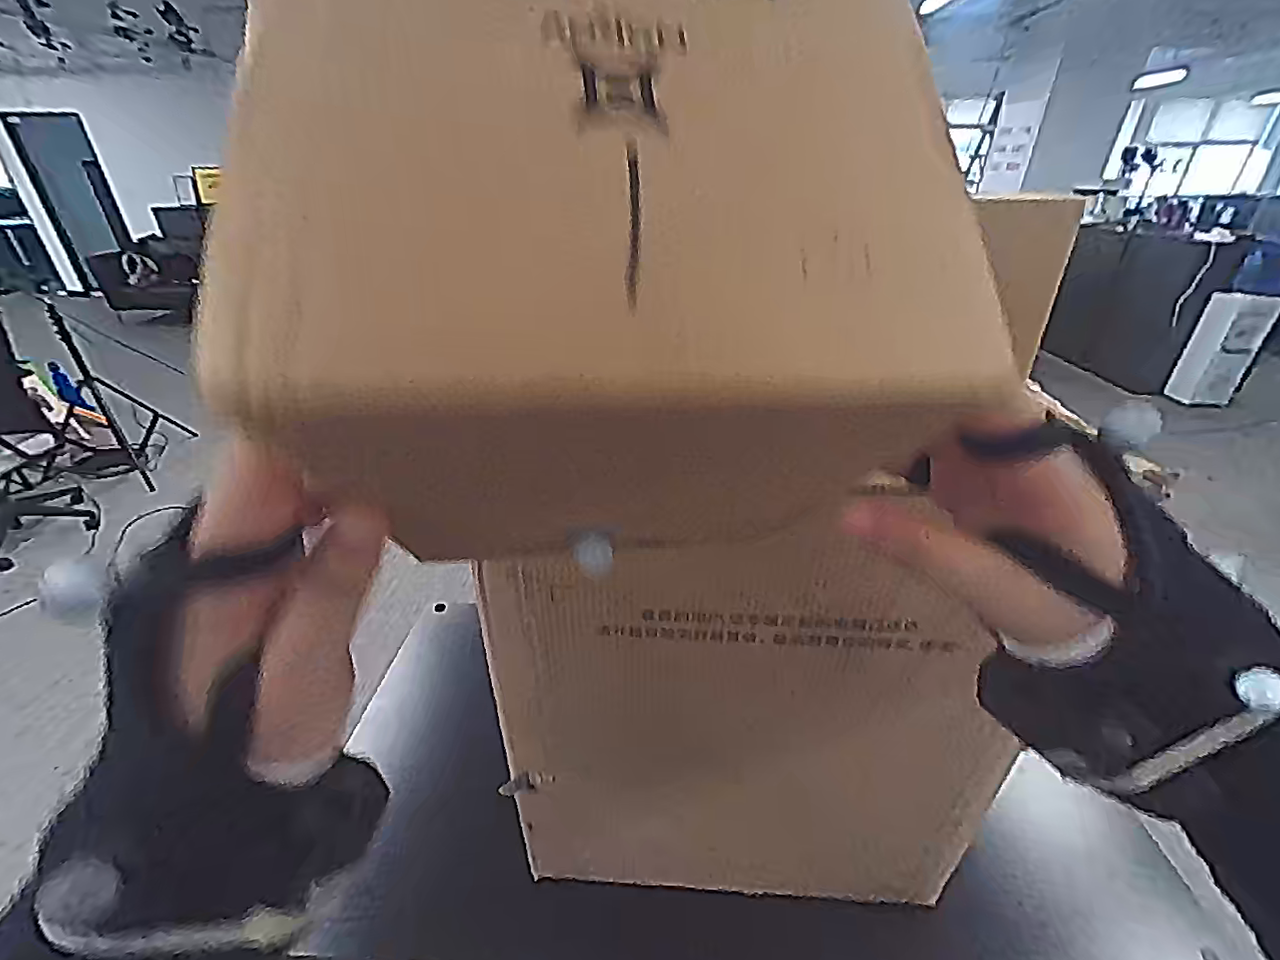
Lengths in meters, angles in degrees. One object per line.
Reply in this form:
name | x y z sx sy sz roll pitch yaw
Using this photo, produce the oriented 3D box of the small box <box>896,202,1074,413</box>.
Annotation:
small box | 0.260 -0.176 0.531 0.168 0.176 0.179 1 29 5
